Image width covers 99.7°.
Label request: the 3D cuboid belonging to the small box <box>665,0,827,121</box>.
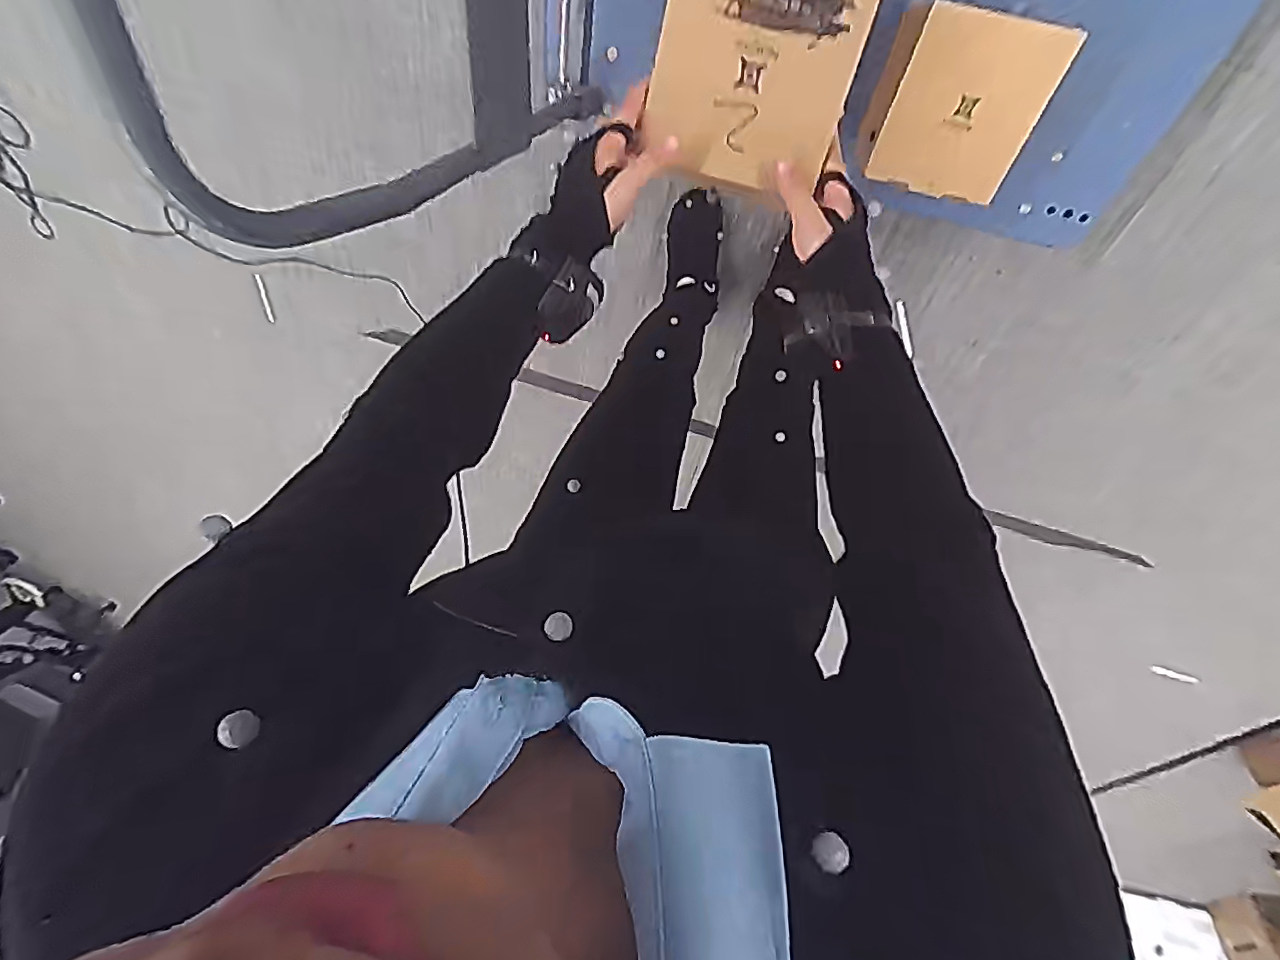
[{"bbox_3d":[0.139,-0.581,0.674,0.168,0.176,0.179,15,134,3],"label":"small box"}]

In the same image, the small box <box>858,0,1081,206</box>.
[{"bbox_3d":[0.394,-0.483,0.691,0.168,0.176,0.179,15,134,3],"label":"small box"}]
